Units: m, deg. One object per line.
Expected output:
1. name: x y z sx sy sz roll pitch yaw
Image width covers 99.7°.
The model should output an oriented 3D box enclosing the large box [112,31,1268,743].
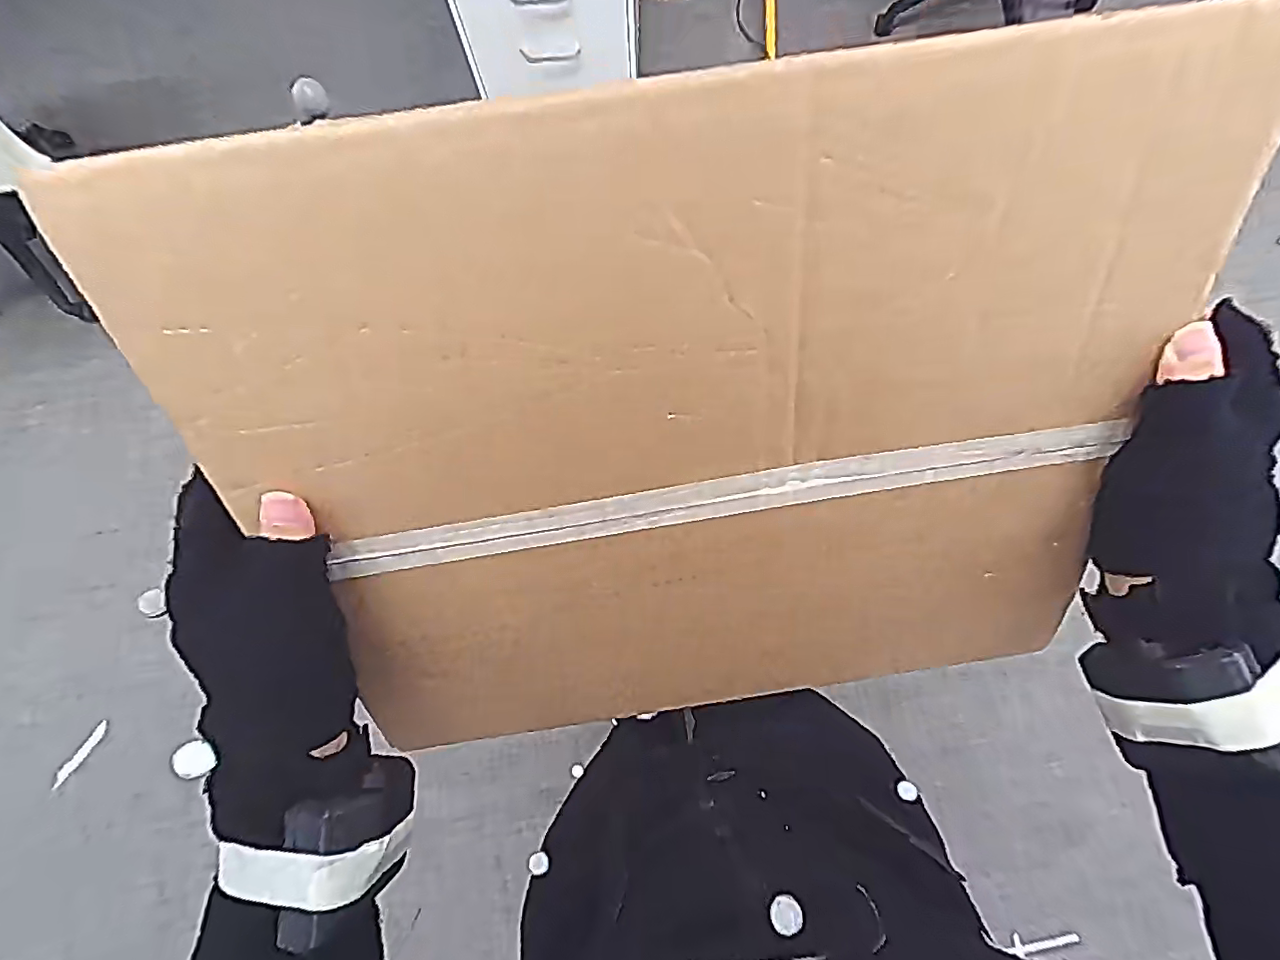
1. large box: 0.020 -0.071 0.385 0.408 0.320 0.320 -9 34 -1
